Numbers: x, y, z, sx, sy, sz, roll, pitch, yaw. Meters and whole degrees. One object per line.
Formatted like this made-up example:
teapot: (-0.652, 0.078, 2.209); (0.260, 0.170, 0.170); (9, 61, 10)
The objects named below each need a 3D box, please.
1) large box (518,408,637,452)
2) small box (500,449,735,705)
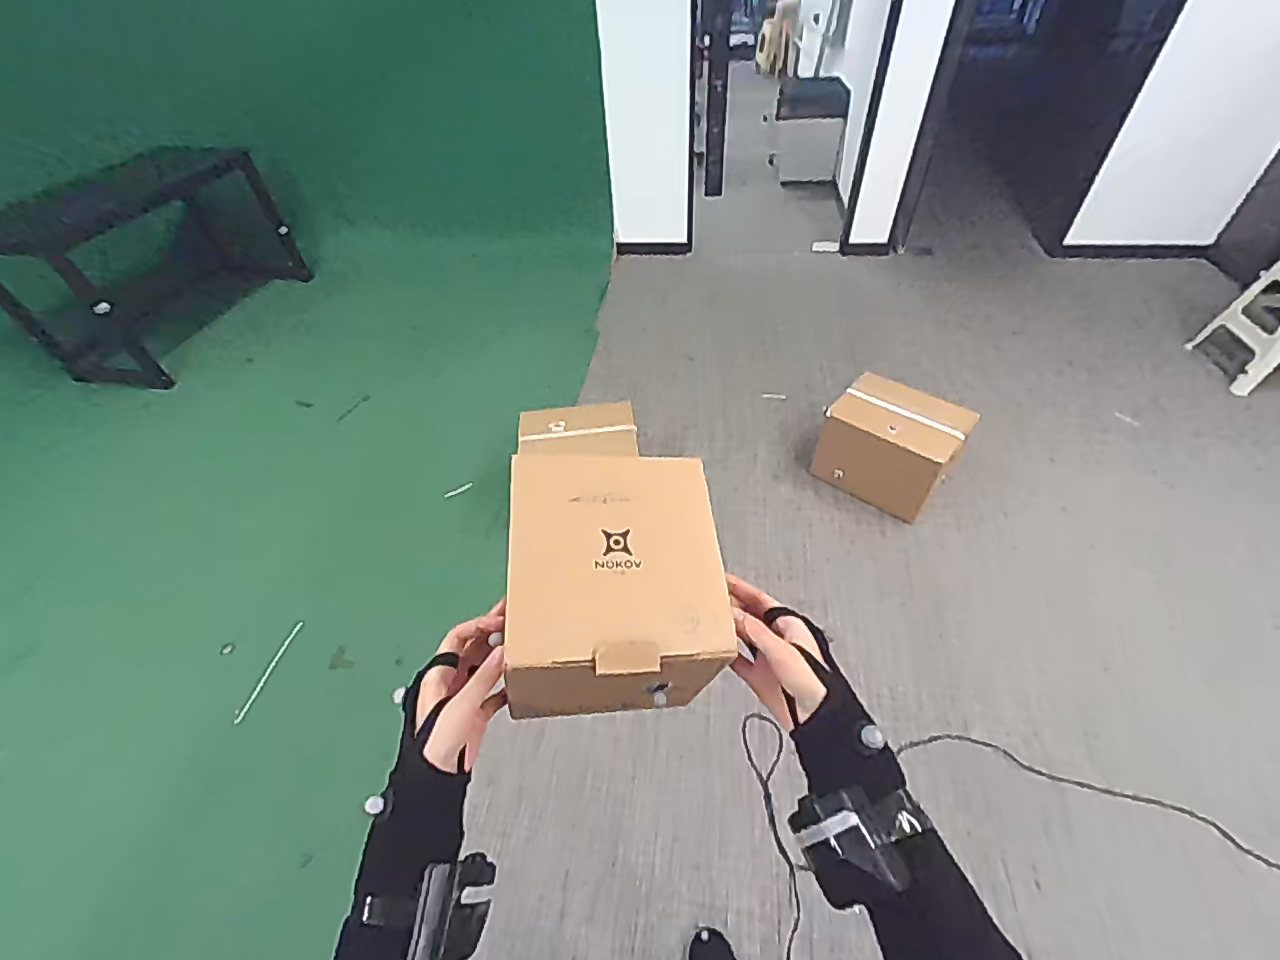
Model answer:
large box: (-0.207, -0.026, 1.946); (0.408, 0.320, 0.320); (-7, 45, -2)
small box: (-0.031, 0.093, 0.479); (0.168, 0.176, 0.179); (1, 55, -11)
